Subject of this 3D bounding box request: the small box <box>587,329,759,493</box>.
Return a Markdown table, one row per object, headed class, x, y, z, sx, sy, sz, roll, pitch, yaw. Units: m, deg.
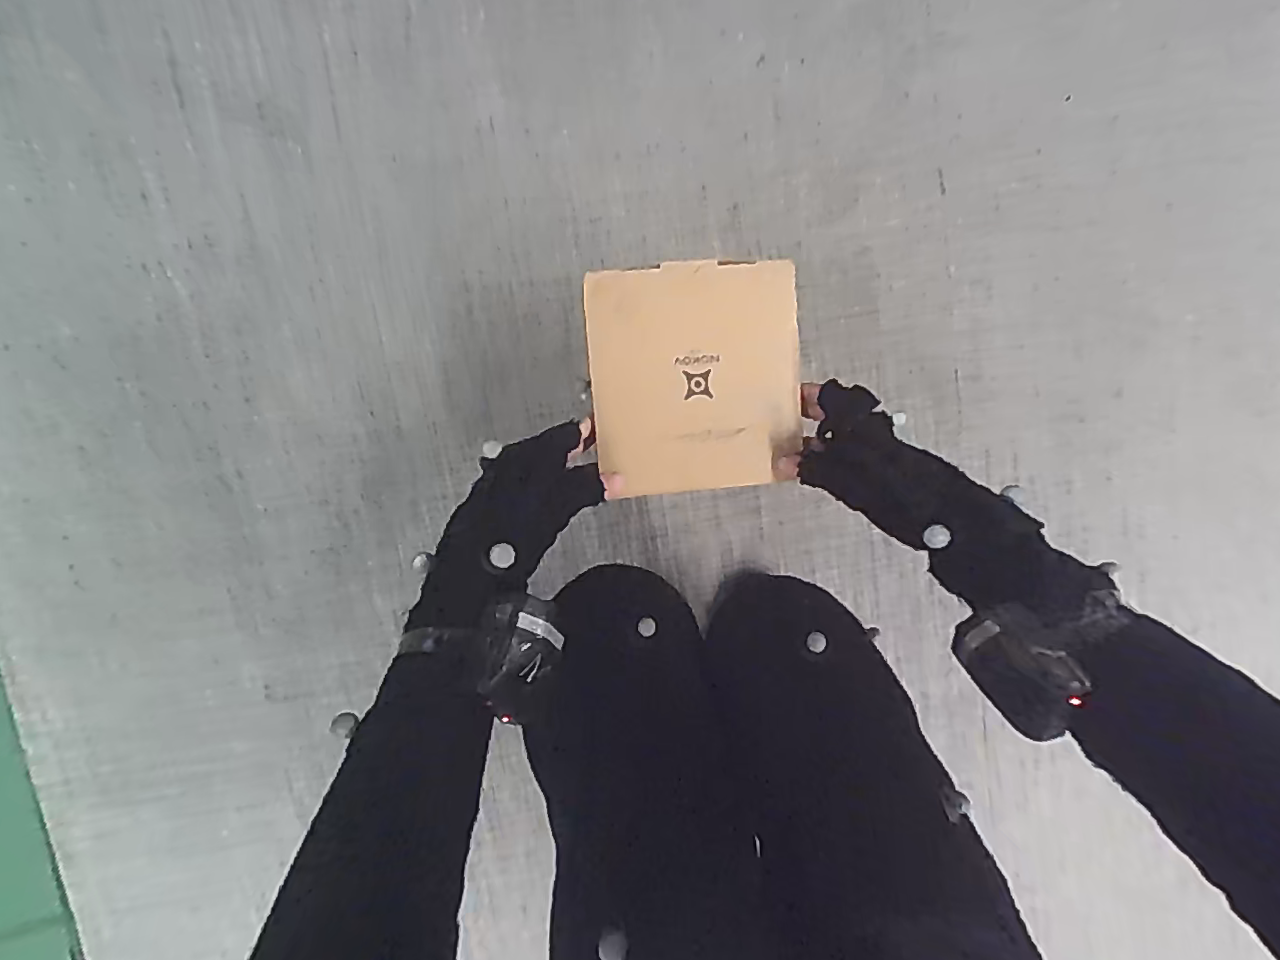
| class | x | y | z | sx | sy | sz | roll | pitch | yaw |
| --- | --- | --- | --- | --- | --- | --- | --- | --- | --- |
| small box | 0.031 | -0.084 | 0.667 | 0.179 | 0.176 | 0.168 | -7 | 96 | -5 |
